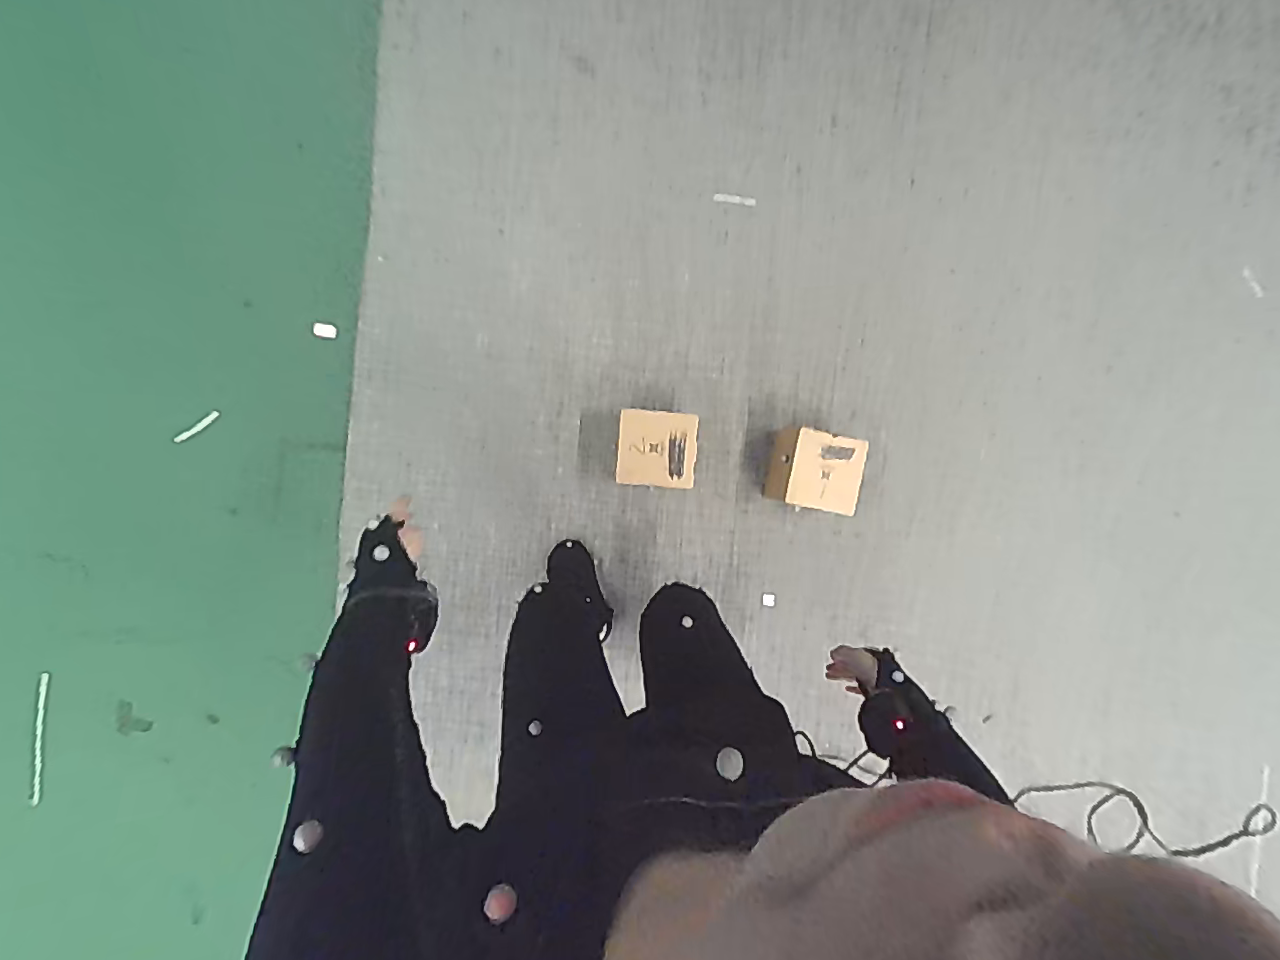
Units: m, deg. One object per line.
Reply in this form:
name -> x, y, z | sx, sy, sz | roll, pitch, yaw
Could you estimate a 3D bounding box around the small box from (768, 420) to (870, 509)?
small box -> 0.419, -0.039, 1.294 | 0.168, 0.176, 0.179 | 11, 93, -4
